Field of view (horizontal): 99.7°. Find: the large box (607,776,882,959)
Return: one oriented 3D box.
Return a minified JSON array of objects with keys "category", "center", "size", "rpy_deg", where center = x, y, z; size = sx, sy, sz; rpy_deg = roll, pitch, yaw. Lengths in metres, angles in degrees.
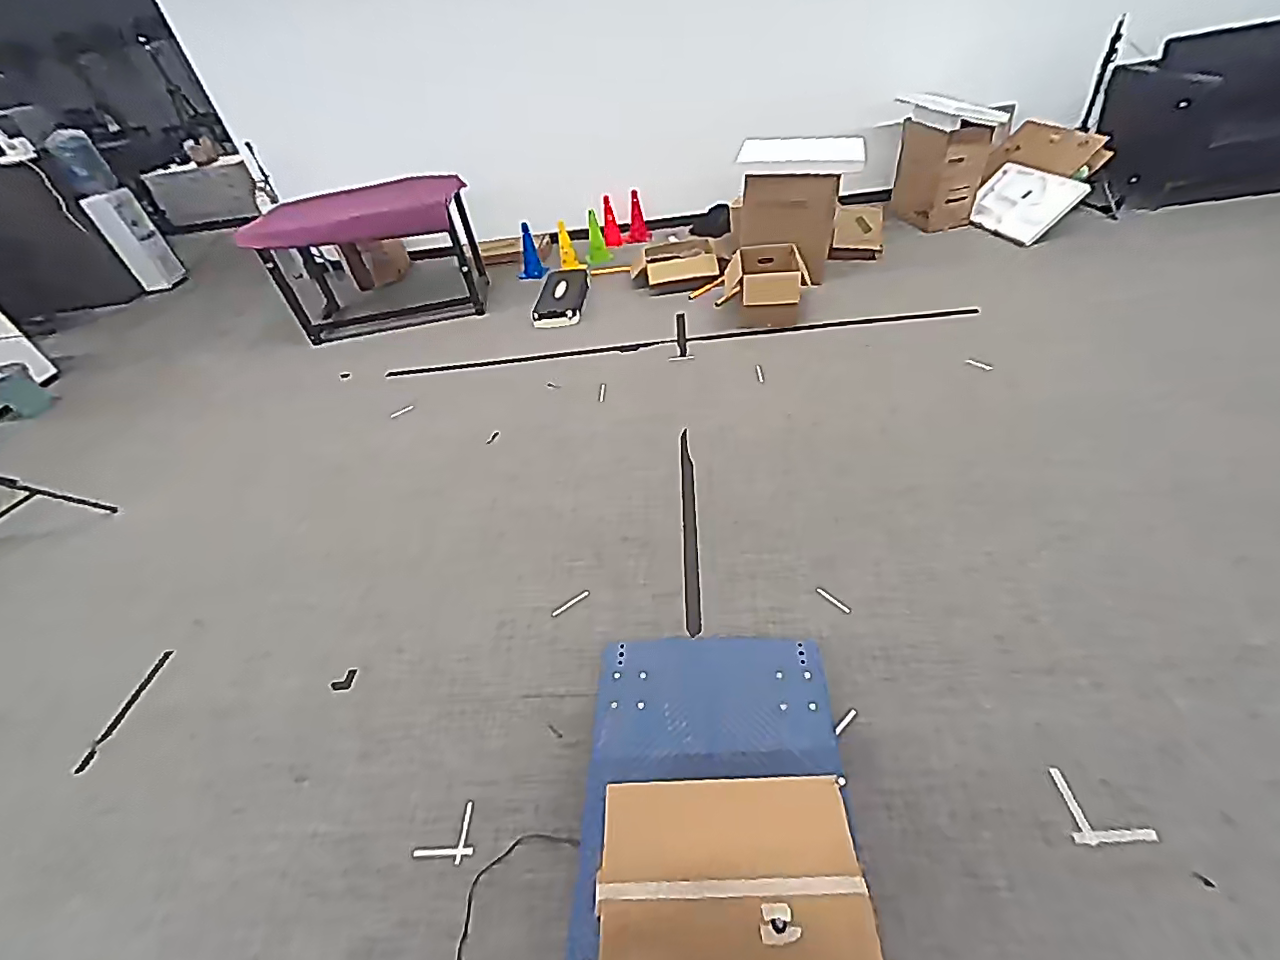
[{"category":"large box","center":[0.160,0.750,0.944],"size":[0.408,0.320,0.320],"rpy_deg":[-5,43,4]}]
